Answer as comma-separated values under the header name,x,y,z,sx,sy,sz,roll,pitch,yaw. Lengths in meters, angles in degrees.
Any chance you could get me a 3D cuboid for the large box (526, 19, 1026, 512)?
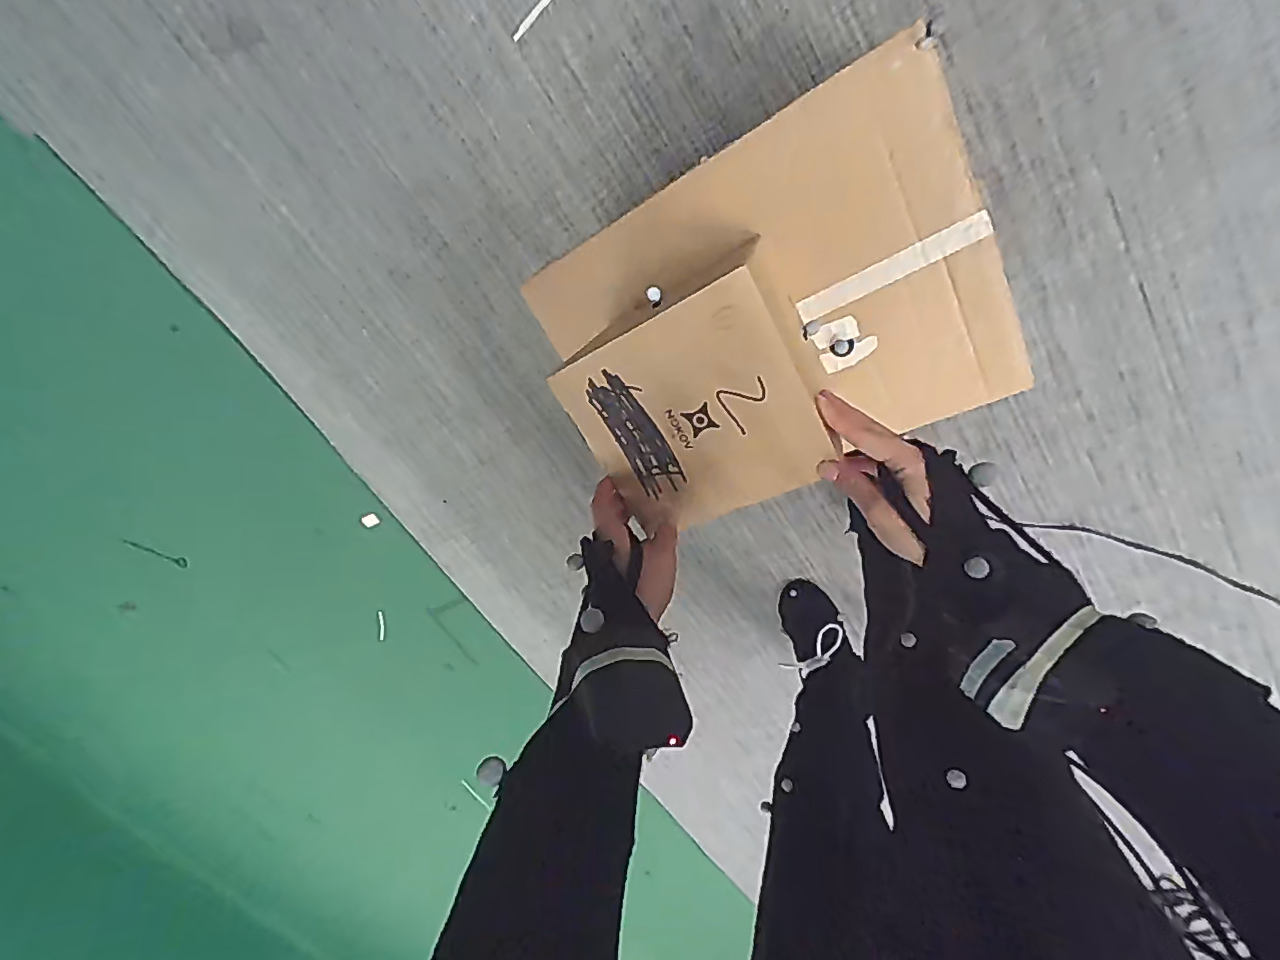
name,x,y,z,sx,sy,sz,roll,pitch,yaw
large box,0.149,-0.220,0.656,0.408,0.320,0.320,-22,112,26
